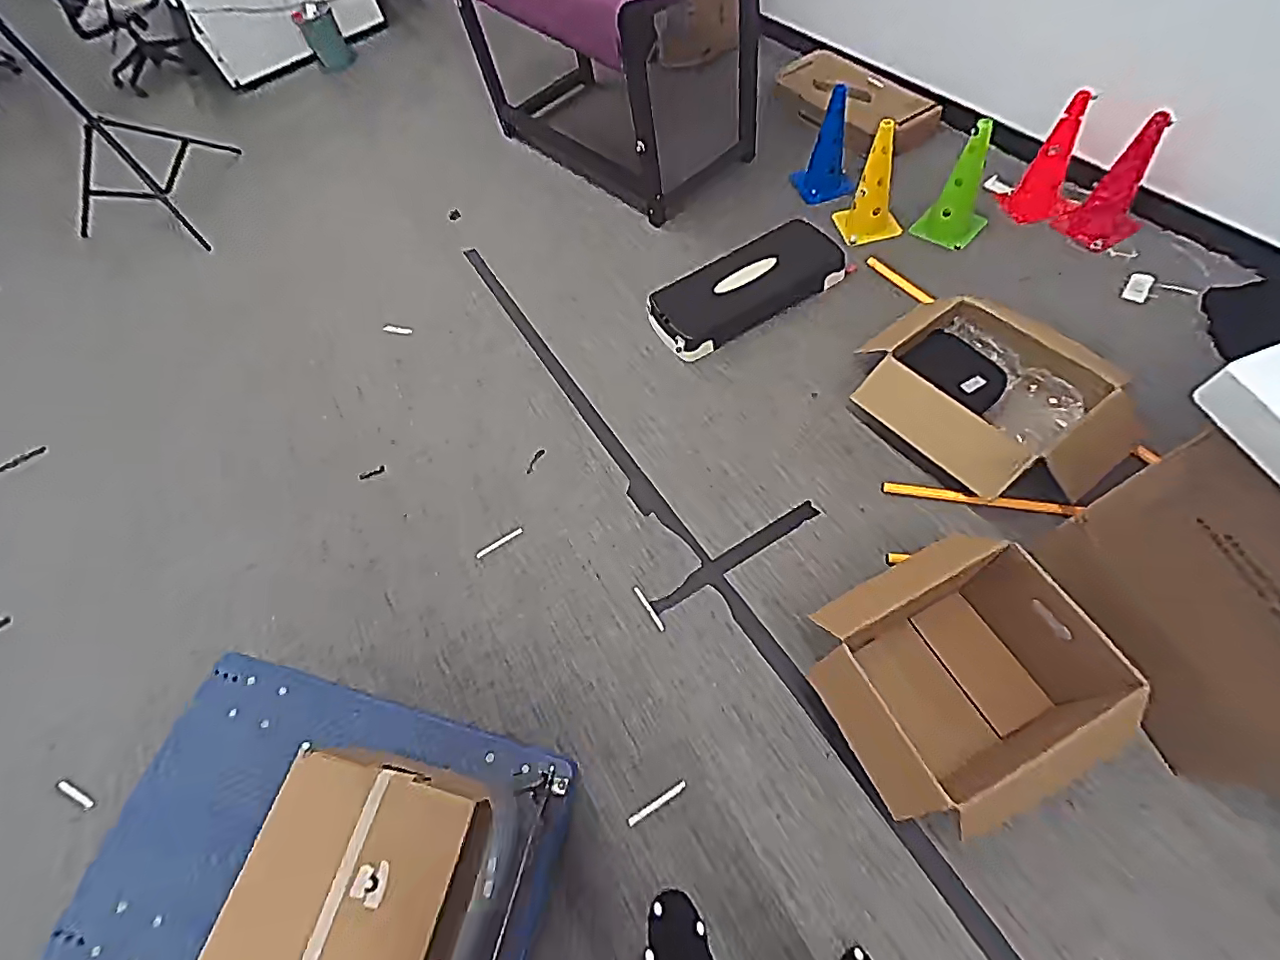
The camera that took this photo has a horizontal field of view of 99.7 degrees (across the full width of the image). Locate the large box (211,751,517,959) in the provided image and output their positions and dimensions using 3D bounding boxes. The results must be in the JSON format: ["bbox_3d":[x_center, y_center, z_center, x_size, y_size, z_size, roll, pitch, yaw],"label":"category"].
[{"bbox_3d":[-0.444,0.720,0.916,0.320,0.320,0.408,14,62,5],"label":"large box"}]
